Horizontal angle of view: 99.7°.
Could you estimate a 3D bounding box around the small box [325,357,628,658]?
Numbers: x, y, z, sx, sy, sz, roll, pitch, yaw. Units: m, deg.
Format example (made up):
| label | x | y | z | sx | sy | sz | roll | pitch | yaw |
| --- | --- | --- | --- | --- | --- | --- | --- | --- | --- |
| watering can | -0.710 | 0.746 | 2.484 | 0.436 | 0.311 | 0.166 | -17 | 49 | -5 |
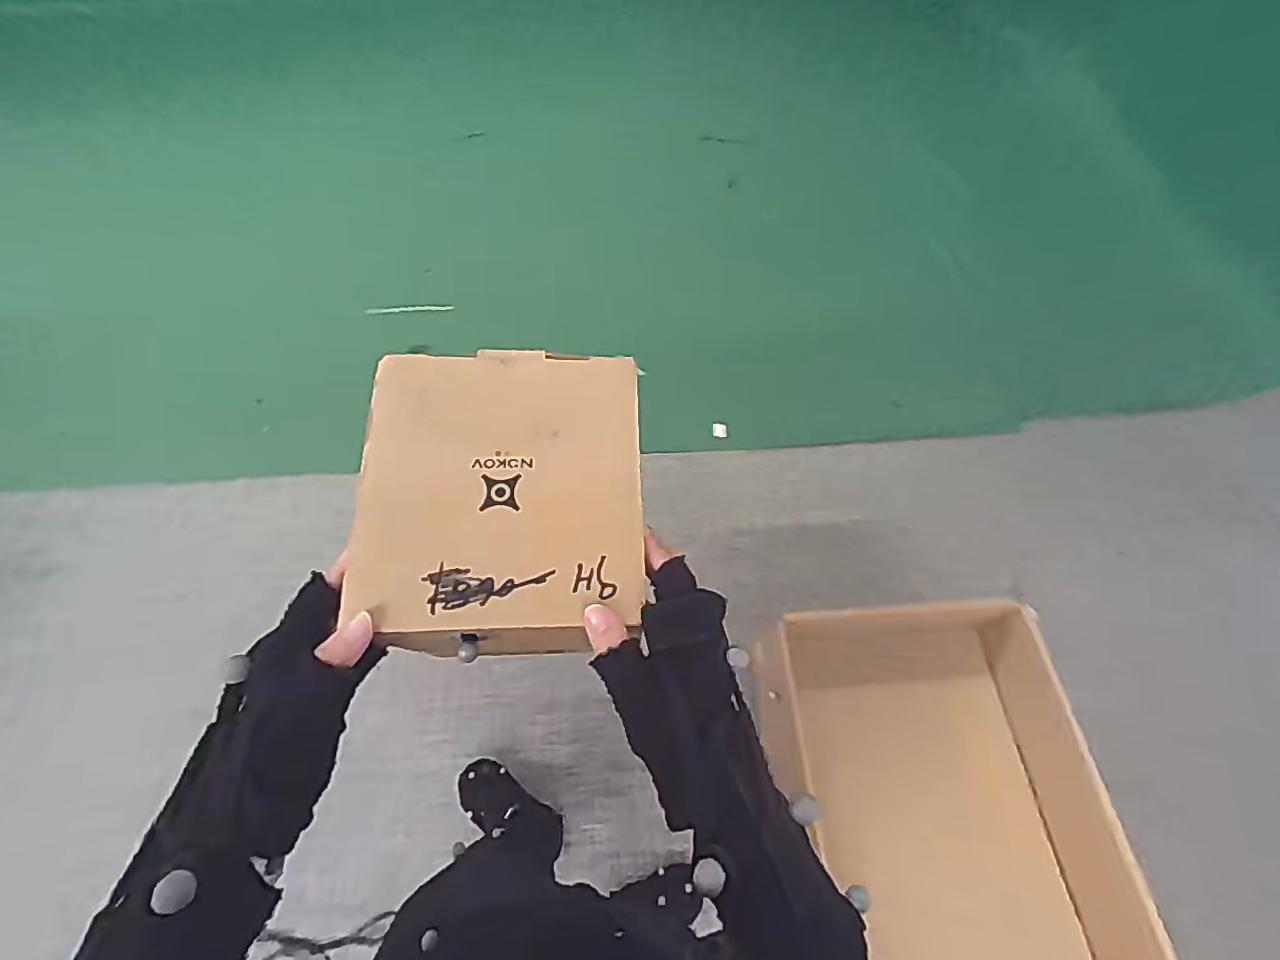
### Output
| label | x | y | z | sx | sy | sz | roll | pitch | yaw |
| --- | --- | --- | --- | --- | --- | --- | --- | --- | --- |
| small box | -0.097 | 0.030 | 0.401 | 0.168 | 0.176 | 0.179 | -2 | 67 | -4 |
